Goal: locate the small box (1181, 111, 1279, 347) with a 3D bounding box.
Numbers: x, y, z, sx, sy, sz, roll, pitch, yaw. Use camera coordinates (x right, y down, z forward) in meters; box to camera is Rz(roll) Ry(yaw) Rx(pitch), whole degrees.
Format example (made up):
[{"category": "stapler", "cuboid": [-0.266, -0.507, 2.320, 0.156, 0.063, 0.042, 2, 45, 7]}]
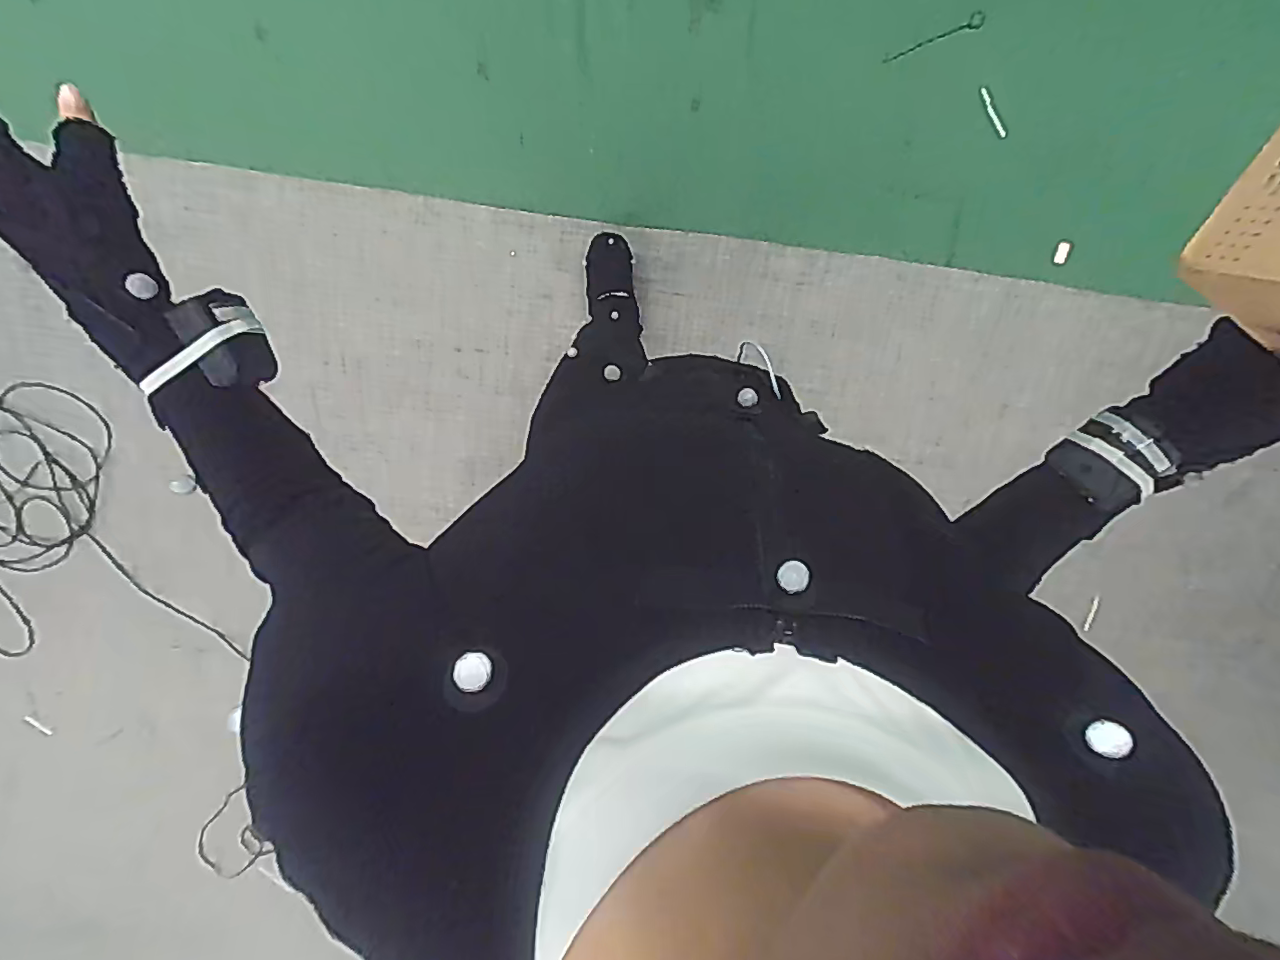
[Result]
[{"category": "small box", "cuboid": [0.418, -0.130, 0.236, 0.179, 0.176, 0.168, 16, 113, -23]}]
